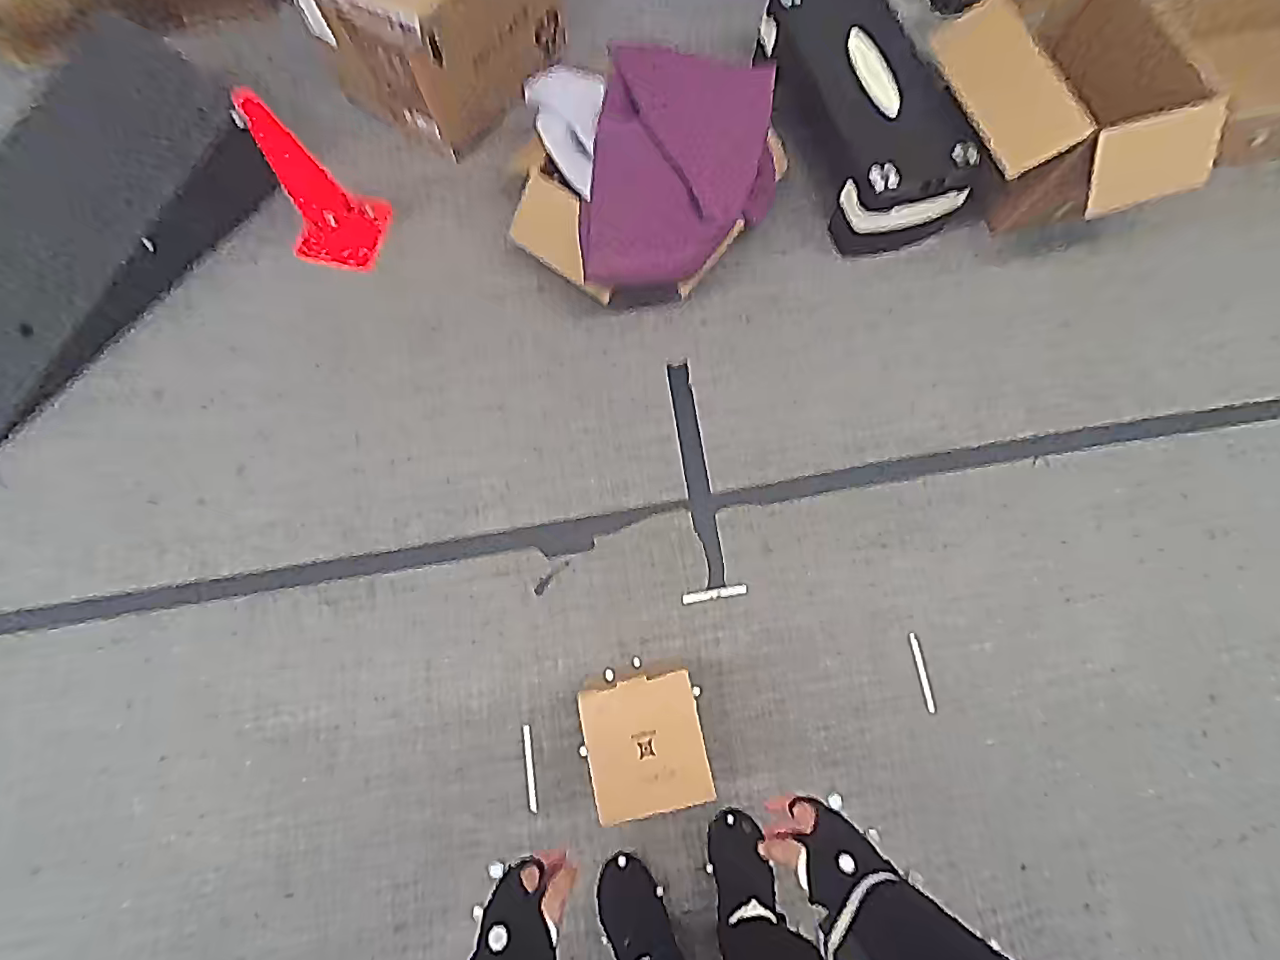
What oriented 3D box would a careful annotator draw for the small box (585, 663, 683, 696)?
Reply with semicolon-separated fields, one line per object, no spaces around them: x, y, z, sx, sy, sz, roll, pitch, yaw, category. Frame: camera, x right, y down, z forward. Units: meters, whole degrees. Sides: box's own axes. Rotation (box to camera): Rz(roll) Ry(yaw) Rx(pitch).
0.004;0.440;0.996;0.179;0.176;0.168;-11;75;-3;small box

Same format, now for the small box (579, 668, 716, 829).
0.008;0.399;0.839;0.168;0.176;0.179;-13;77;-2;small box
